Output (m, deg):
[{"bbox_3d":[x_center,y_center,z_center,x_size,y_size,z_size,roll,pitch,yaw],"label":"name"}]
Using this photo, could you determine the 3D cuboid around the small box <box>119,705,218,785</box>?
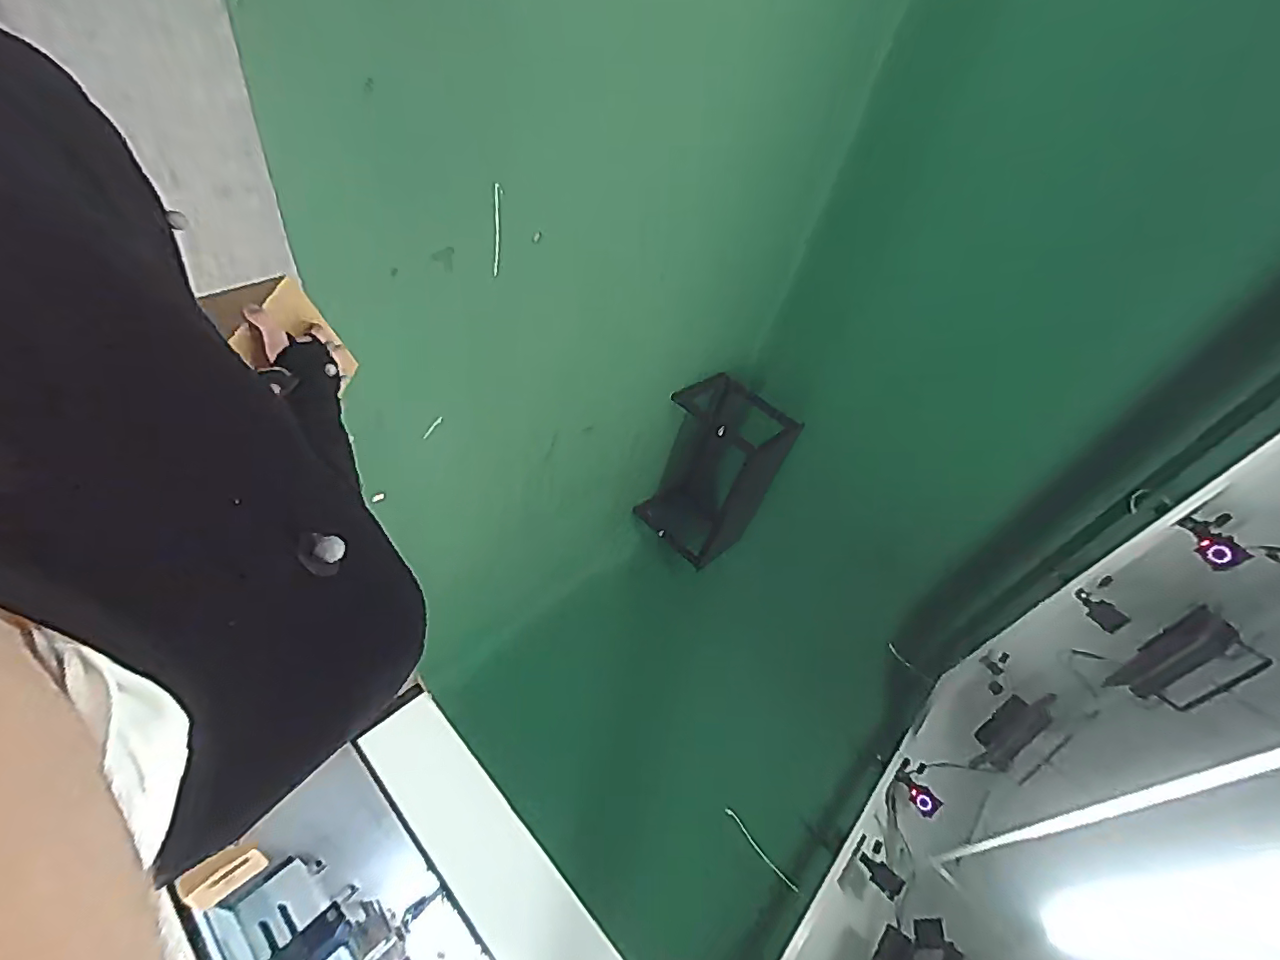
[{"bbox_3d":[-1.407,0.815,1.623,0.168,0.176,0.179,-31,150,-39],"label":"small box"}]

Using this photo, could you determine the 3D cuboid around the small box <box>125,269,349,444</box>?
[{"bbox_3d":[-0.572,-0.172,0.780,0.176,0.179,0.168,-9,137,10],"label":"small box"}]
